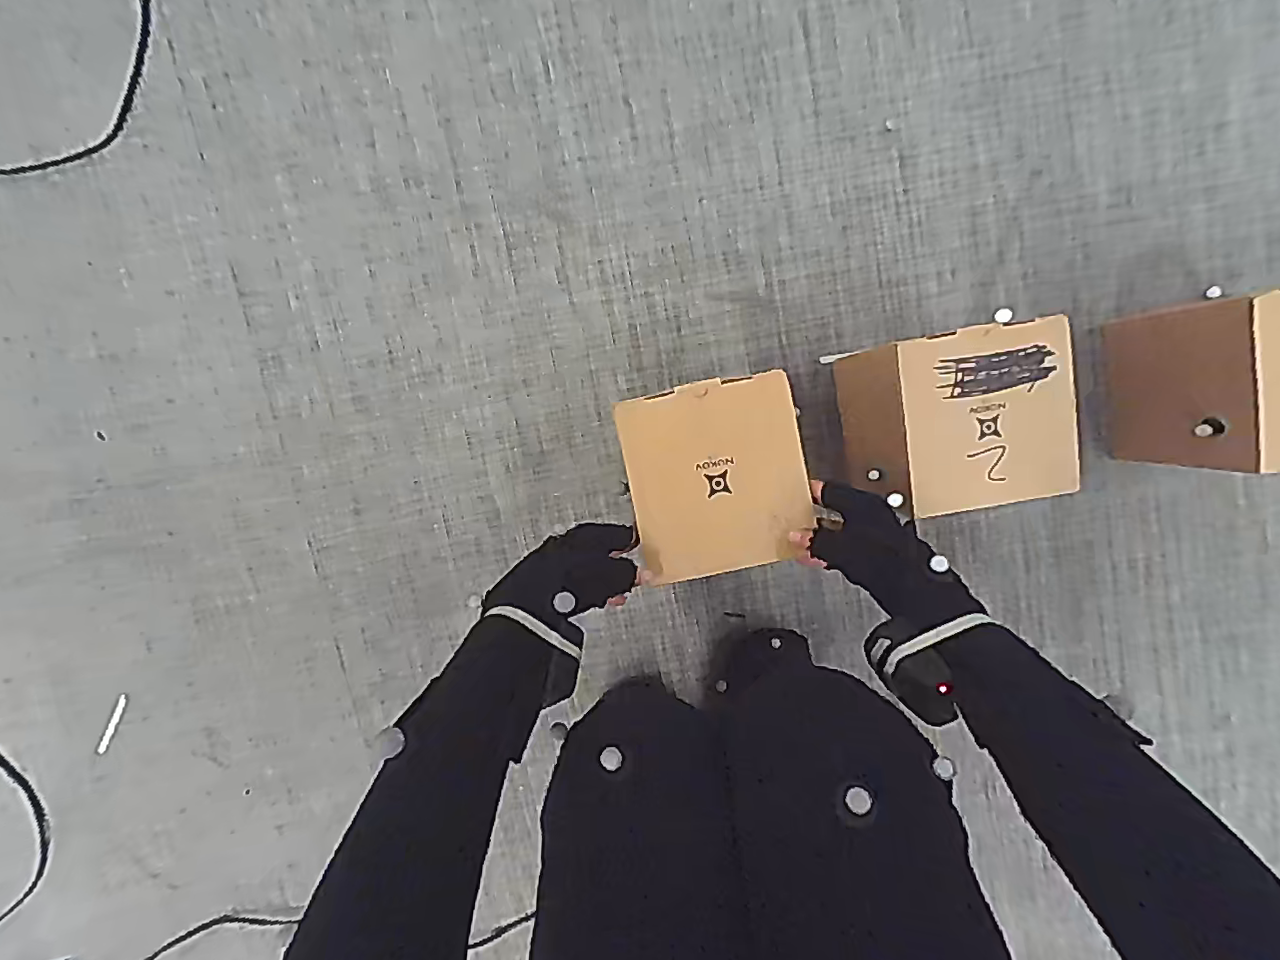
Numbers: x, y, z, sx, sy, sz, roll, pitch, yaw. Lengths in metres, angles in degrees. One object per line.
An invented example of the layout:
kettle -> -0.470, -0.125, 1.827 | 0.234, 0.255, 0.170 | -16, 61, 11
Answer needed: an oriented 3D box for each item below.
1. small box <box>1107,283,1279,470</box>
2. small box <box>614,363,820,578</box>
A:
small box -> 0.662, -0.118, 0.589 | 0.168, 0.176, 0.179 | -11, 97, 1
small box -> 0.072, -0.010, 0.576 | 0.168, 0.176, 0.179 | -11, 90, 0
